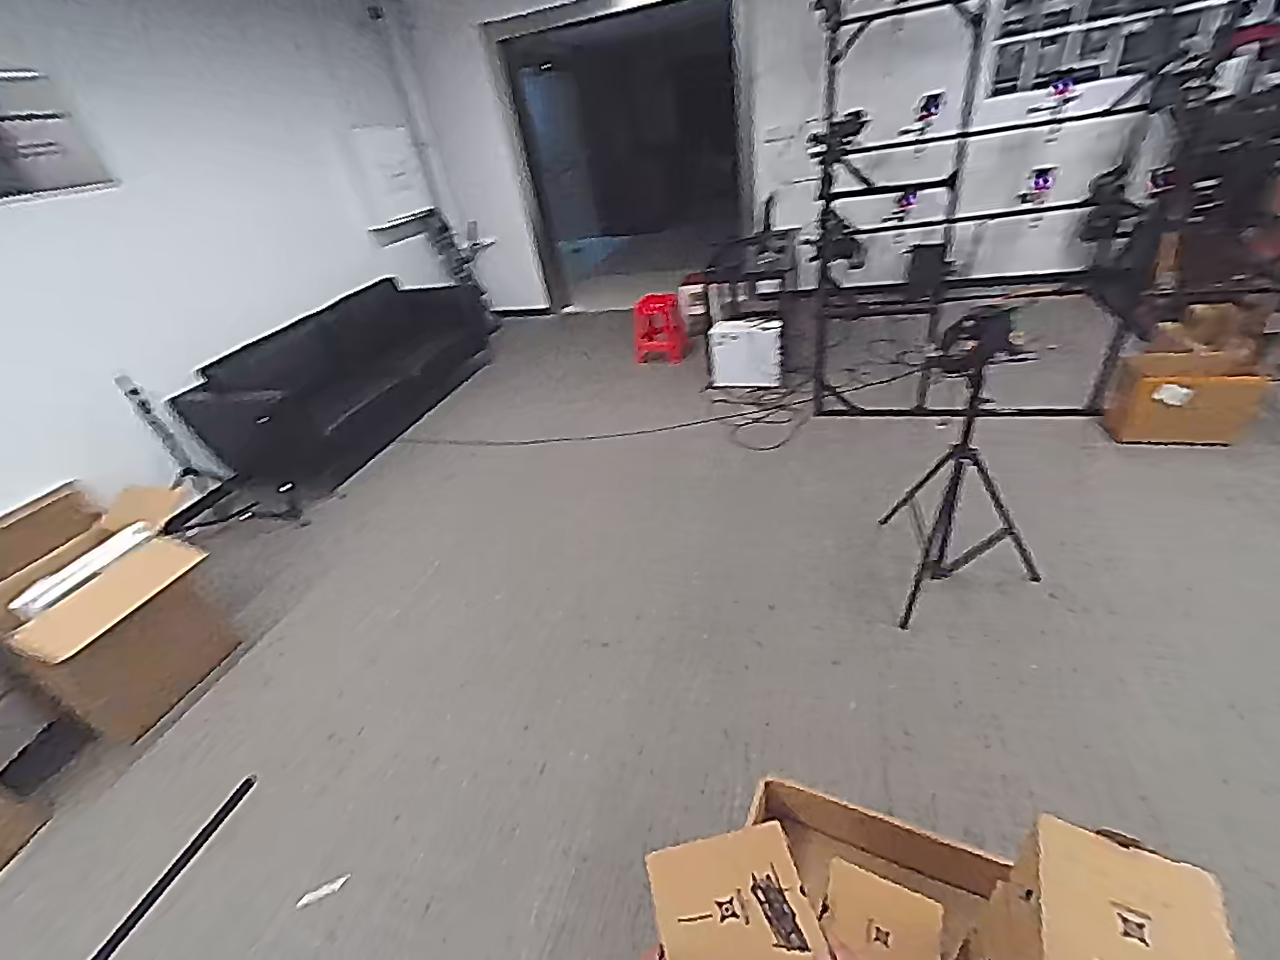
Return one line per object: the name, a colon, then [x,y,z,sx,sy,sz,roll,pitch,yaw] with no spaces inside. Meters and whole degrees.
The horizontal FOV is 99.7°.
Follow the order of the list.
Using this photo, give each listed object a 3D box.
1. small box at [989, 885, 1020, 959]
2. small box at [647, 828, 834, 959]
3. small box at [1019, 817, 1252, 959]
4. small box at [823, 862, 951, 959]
small box: [0.558,0.671,0.687,0.179,0.176,0.168,5,36,24]
small box: [0.113,0.554,0.629,0.179,0.176,0.168,-10,26,-7]
small box: [0.535,0.533,0.601,0.168,0.176,0.179,9,36,30]
small box: [0.388,0.777,0.878,0.179,0.176,0.168,10,38,27]
